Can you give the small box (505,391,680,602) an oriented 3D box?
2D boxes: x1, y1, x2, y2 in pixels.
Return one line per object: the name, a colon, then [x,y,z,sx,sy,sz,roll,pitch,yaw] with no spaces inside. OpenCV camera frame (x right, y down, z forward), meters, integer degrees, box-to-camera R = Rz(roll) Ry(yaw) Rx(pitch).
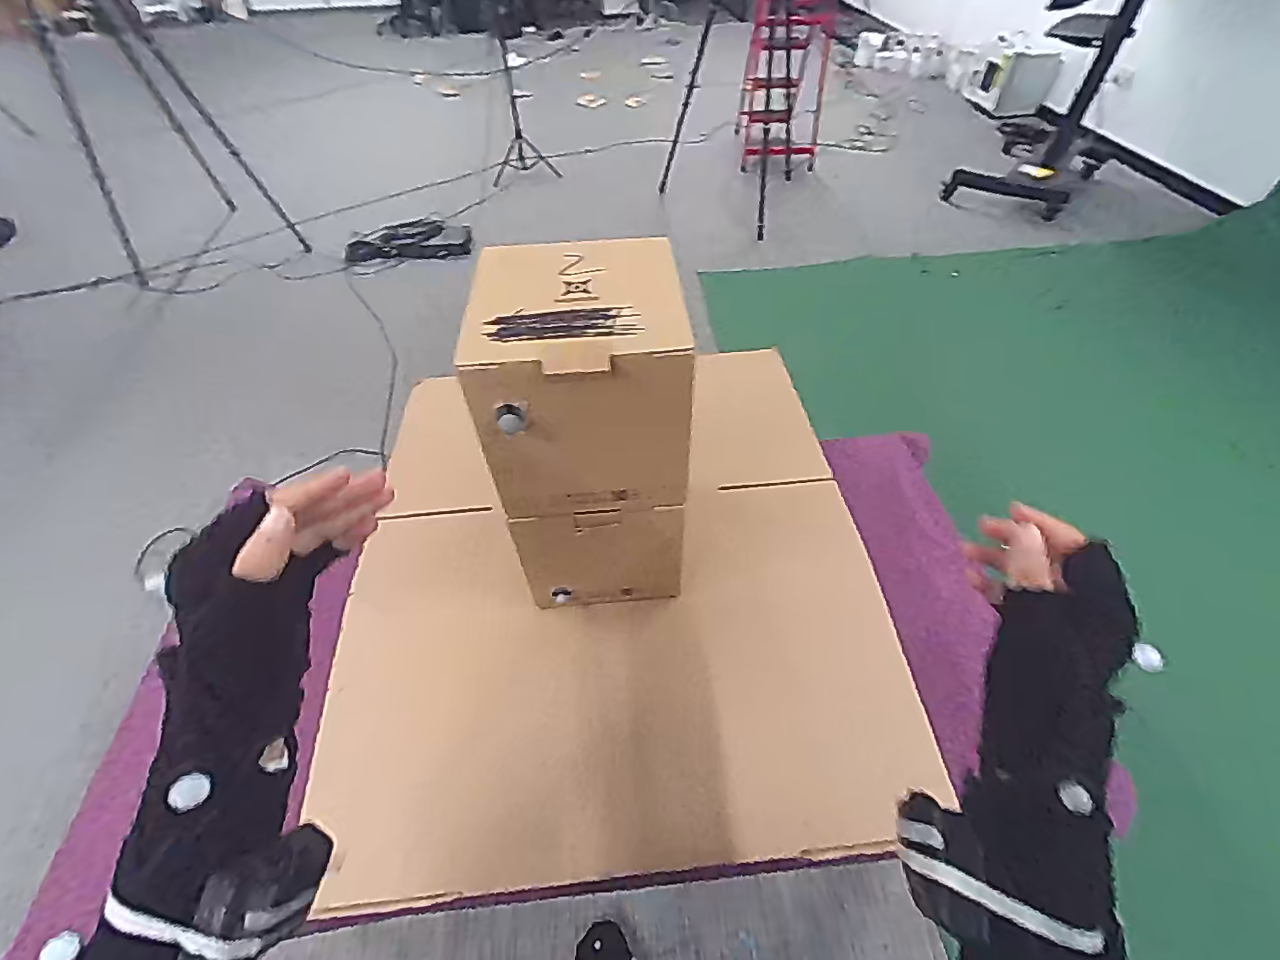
small box: [-0.045,0.024,0.607,0.168,0.176,0.179,-4,48,-2]
